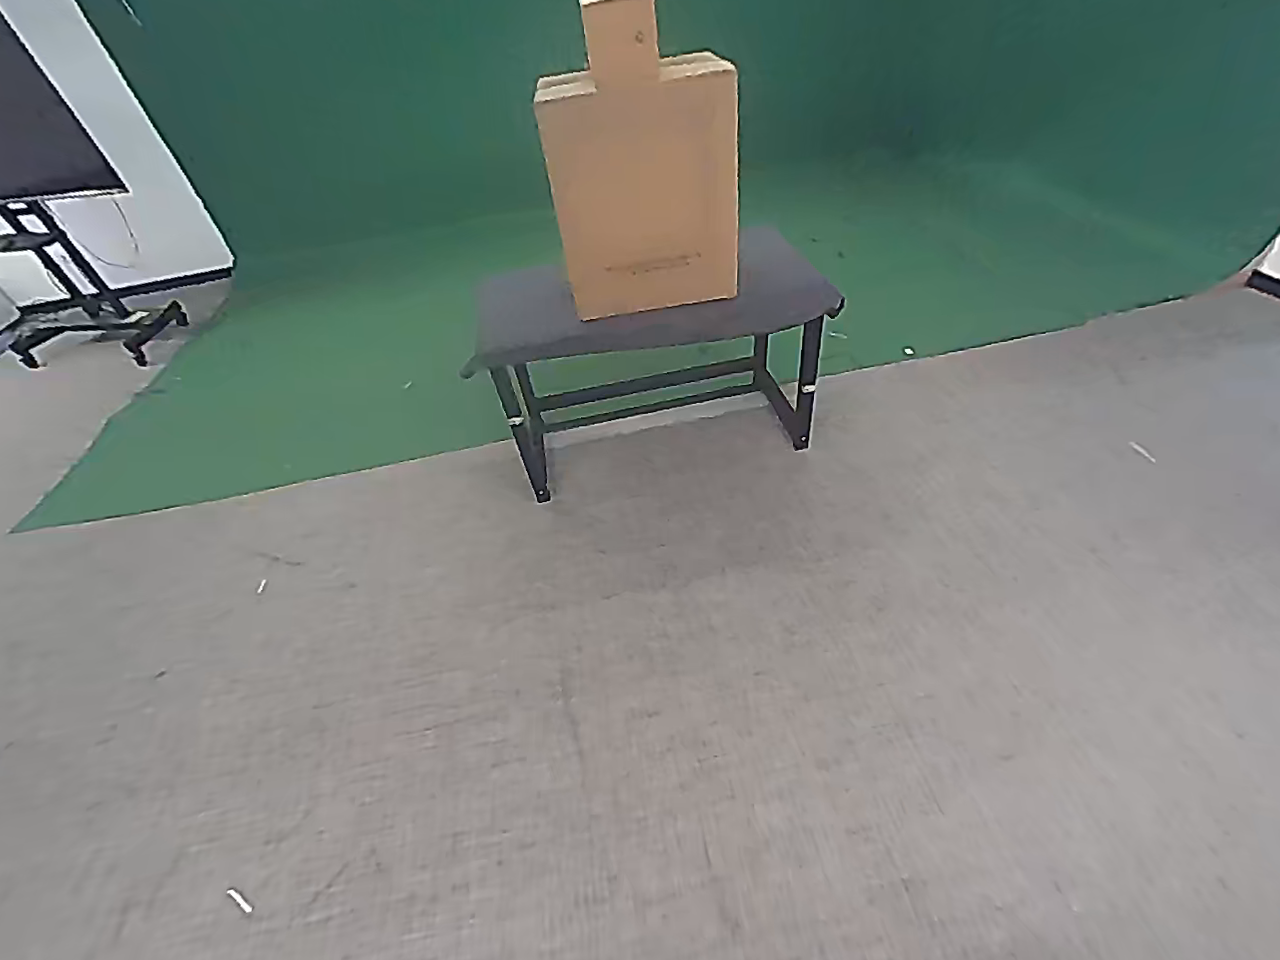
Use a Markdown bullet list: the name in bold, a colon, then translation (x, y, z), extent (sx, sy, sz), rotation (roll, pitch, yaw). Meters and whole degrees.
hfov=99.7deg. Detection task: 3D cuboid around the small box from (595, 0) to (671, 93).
- **small box**: translation (-0.016, -1.141, 1.412), extent (0.179, 0.176, 0.168), rotation (-10, 45, 1)
